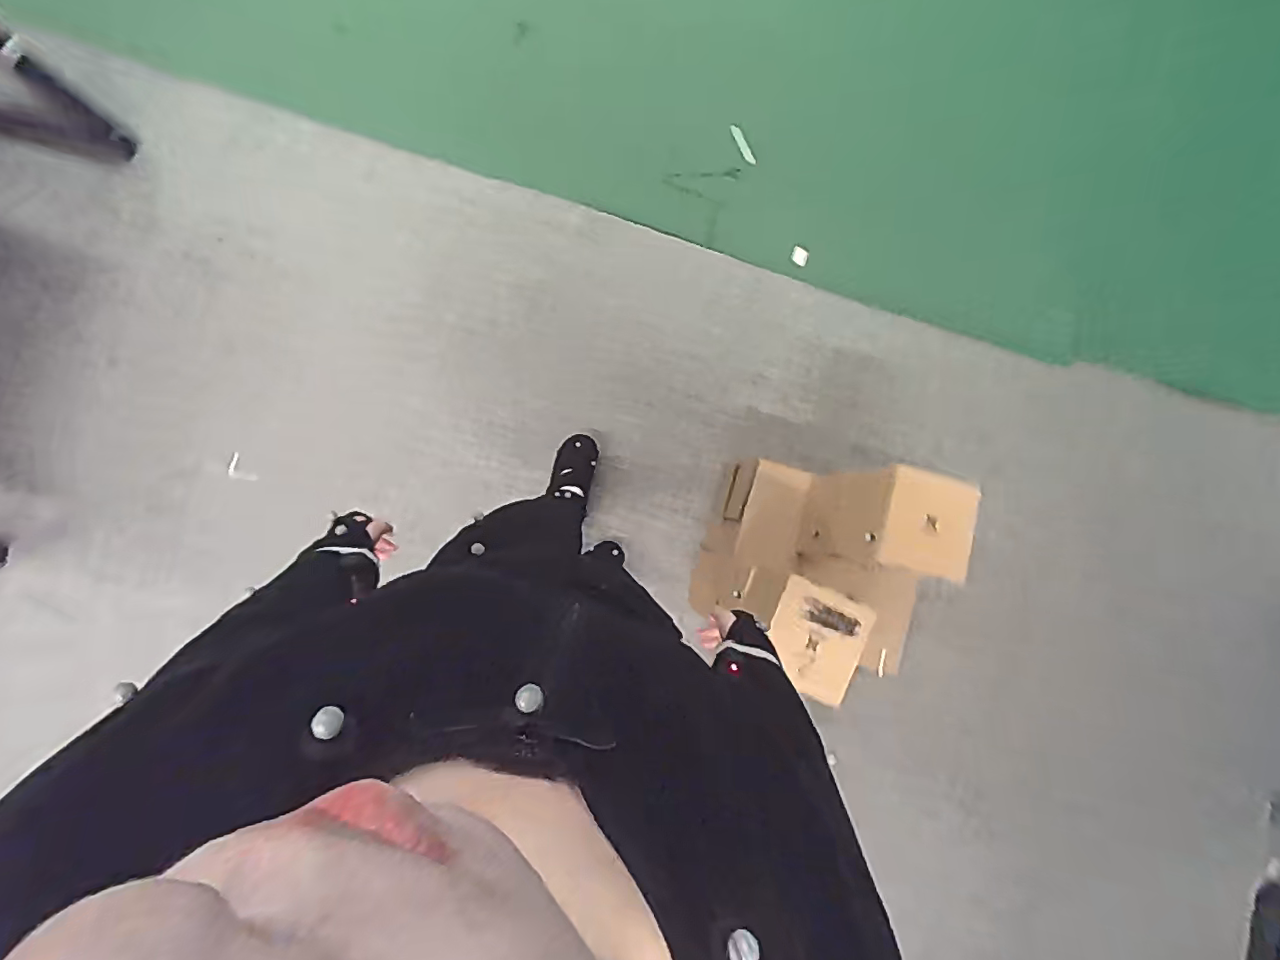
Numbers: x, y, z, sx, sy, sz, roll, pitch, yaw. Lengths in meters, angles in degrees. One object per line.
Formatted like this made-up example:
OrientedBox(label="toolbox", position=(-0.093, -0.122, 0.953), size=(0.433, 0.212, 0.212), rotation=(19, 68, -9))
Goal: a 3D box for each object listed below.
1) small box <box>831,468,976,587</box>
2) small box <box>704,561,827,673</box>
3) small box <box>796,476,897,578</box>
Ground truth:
OrientedBox(label="small box", position=(0.485, 0.086, 1.018), size=(0.168, 0.176, 0.179), rotation=(16, 86, -7))
OrientedBox(label="small box", position=(0.257, 0.280, 1.144), size=(0.179, 0.176, 0.168), rotation=(21, 86, -6))
OrientedBox(label="small box", position=(0.460, 0.100, 1.179), size=(0.168, 0.176, 0.179), rotation=(15, 85, -7))
